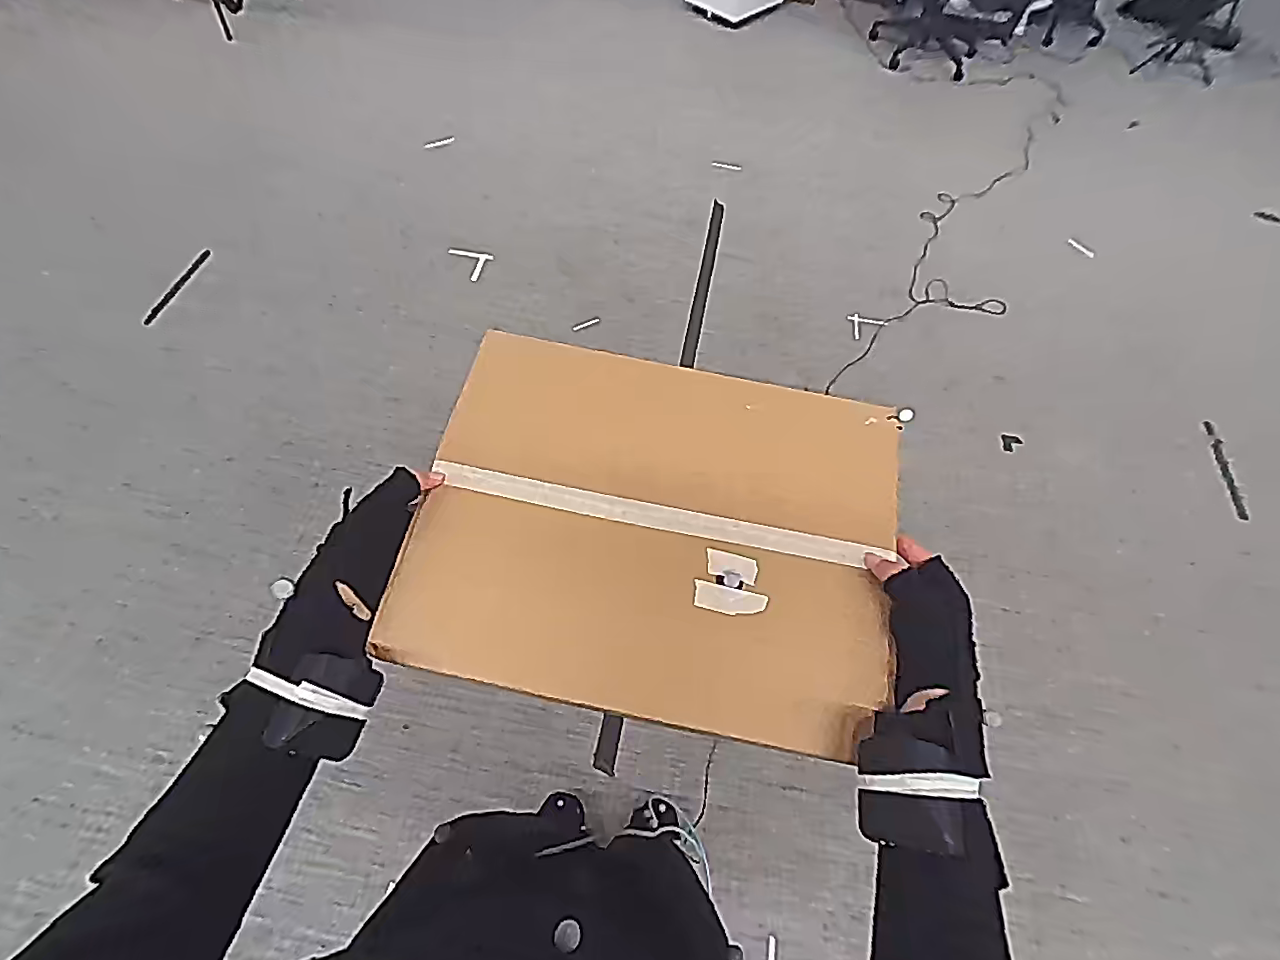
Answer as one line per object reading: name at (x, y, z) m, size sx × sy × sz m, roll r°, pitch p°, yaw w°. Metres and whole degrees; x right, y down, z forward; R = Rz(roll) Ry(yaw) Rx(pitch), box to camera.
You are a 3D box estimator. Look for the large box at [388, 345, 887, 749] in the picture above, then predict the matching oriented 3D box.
large box at (0.010, 0.094, 0.615) m, size 0.408 × 0.320 × 0.320 m, roll 11°, pitch 68°, yaw 1°
